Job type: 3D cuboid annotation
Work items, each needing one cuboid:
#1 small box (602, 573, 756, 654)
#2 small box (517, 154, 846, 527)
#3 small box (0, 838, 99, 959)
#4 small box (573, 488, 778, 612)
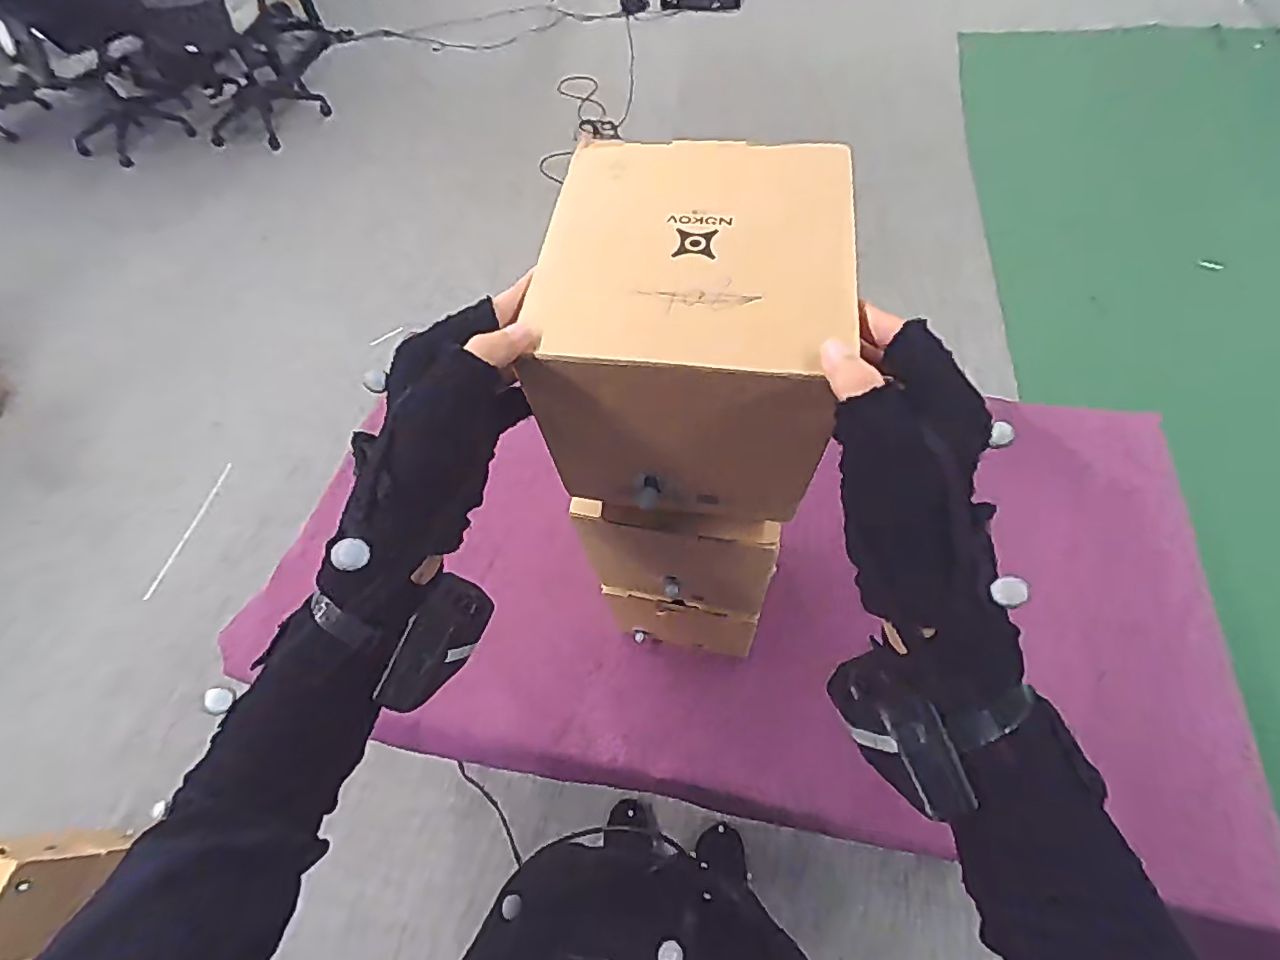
[{"bbox_3d":[0.066,0.099,0.666,0.168,0.176,0.179,9,60,12],"label":"small box"},{"bbox_3d":[0.035,-0.087,0.371,0.168,0.176,0.179,6,63,8],"label":"small box"},{"bbox_3d":[-1.232,0.817,1.047,0.168,0.176,0.179,6,60,10],"label":"small box"},{"bbox_3d":[0.049,0.009,0.529,0.168,0.176,0.179,8,61,12],"label":"small box"}]
